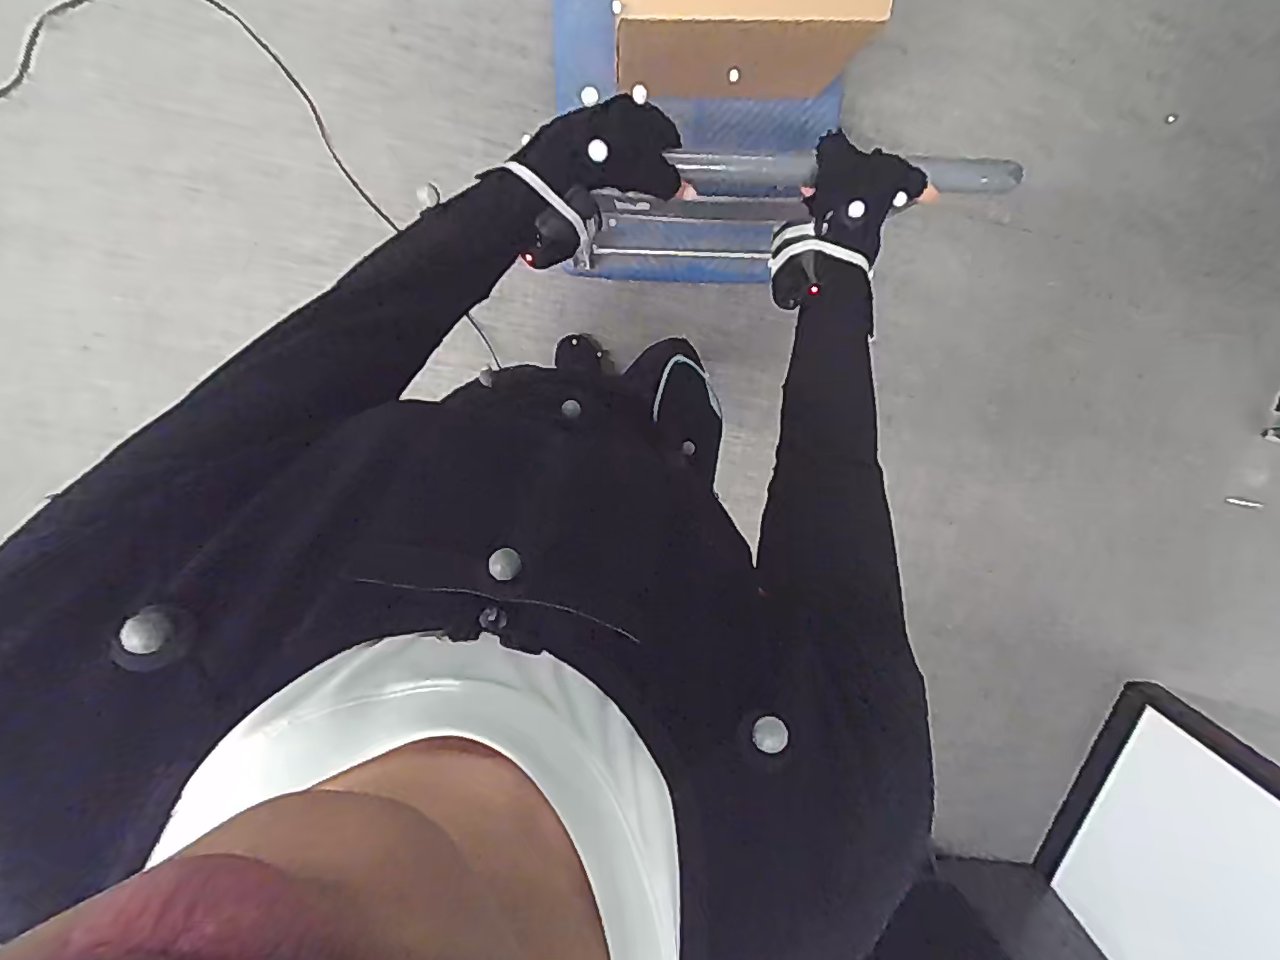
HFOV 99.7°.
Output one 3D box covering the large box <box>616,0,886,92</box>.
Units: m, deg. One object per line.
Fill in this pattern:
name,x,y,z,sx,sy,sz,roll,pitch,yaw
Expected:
large box,0.161,-0.877,0.897,0.408,0.320,0.320,-2,107,-2
